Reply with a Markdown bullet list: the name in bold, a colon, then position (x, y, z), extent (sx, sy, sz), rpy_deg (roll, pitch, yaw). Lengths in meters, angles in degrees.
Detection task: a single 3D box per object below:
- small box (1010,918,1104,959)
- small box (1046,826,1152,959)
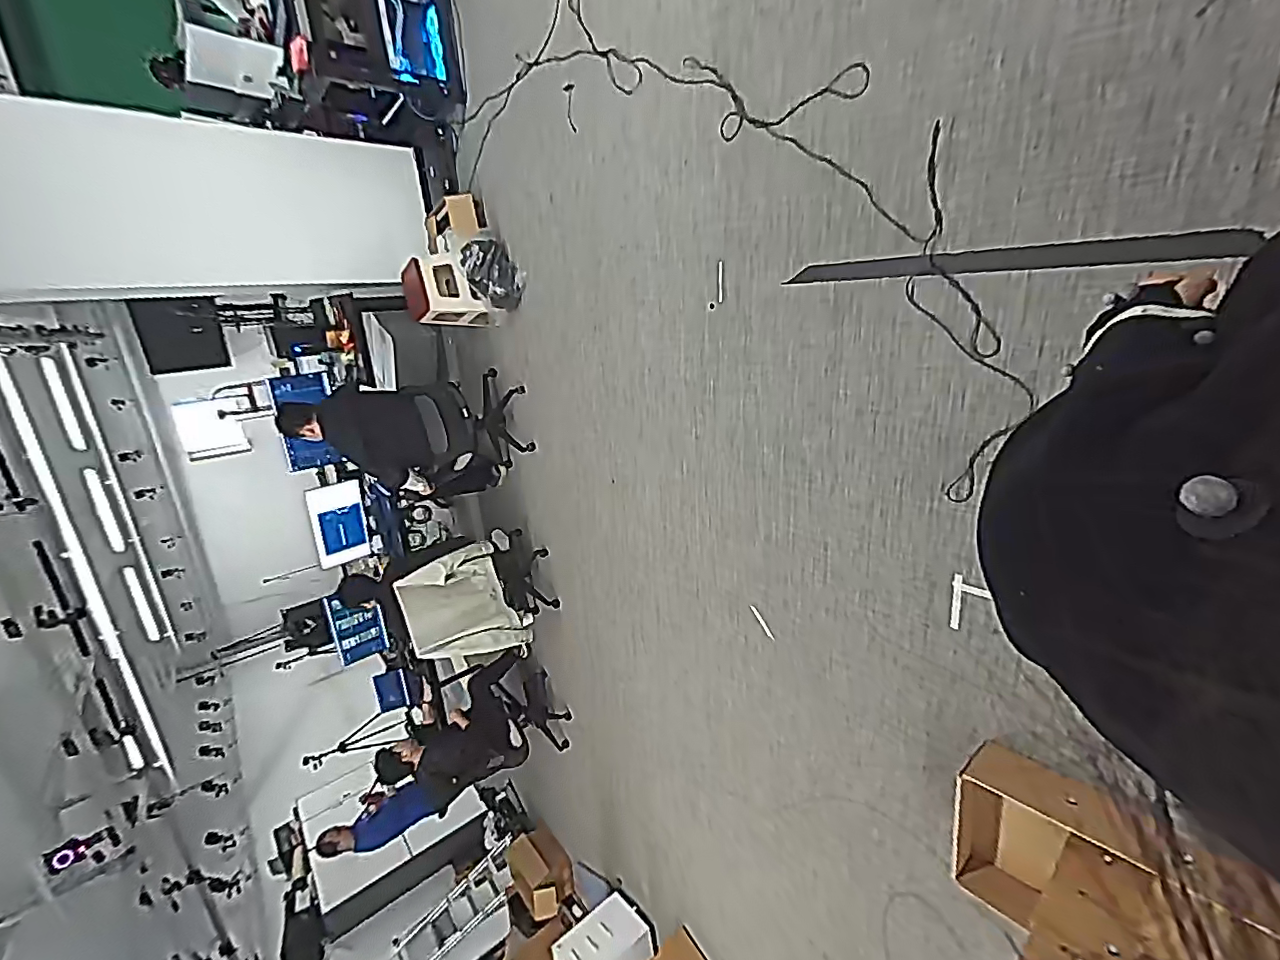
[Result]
- **small box**: position (0.875, 1.082, 1.117), extent (0.168, 0.176, 0.179), rpy_deg (8, 110, 50)
- **small box**: position (1.120, 1.007, 1.320), extent (0.168, 0.176, 0.179), rpy_deg (9, 112, 50)
